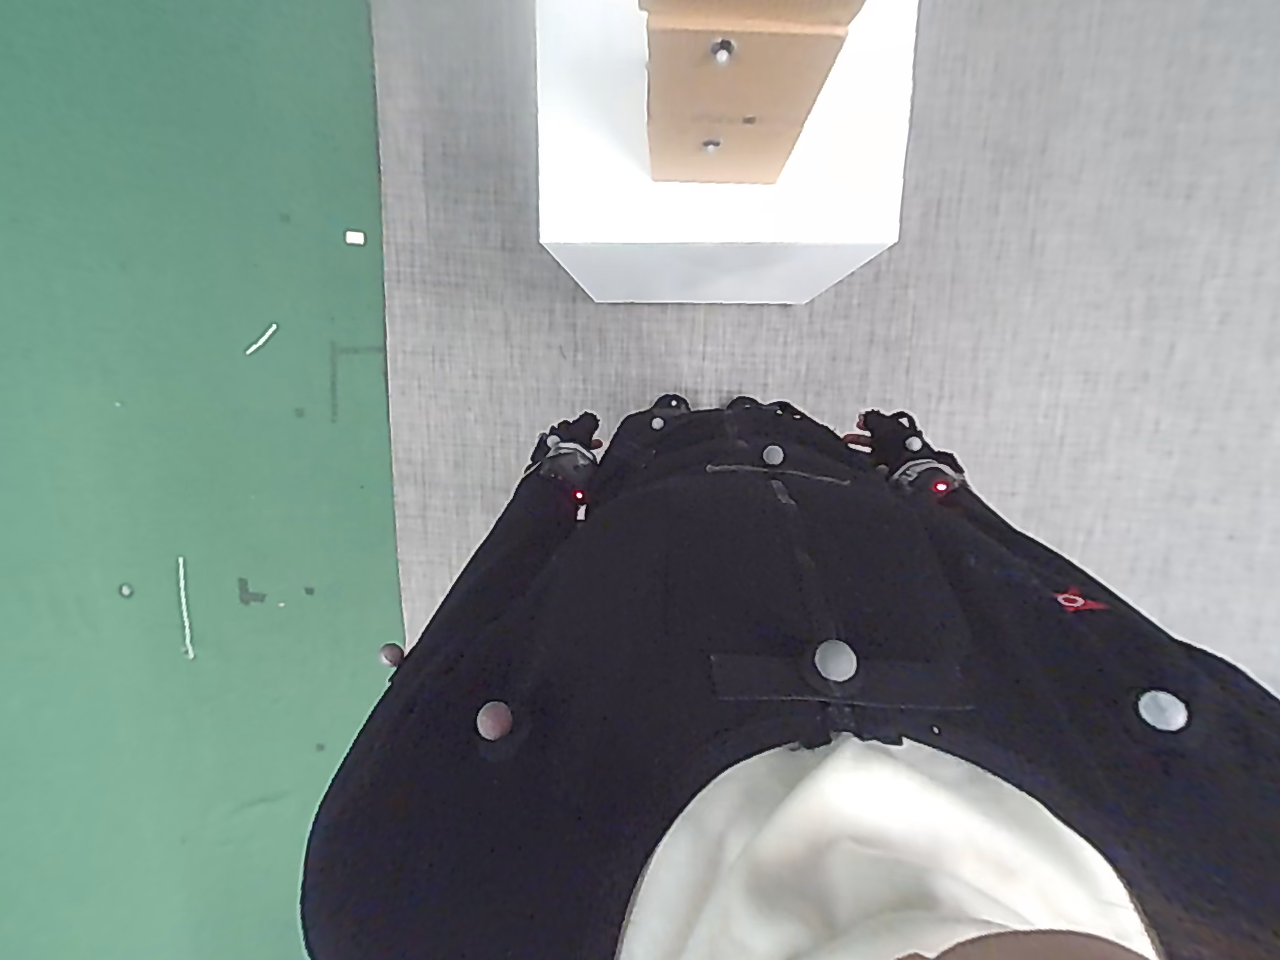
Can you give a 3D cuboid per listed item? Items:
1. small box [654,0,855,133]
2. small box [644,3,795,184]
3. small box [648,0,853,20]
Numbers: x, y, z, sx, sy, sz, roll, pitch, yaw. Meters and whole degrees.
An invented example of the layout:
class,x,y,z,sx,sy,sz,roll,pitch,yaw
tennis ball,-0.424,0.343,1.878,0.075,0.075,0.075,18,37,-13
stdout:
class,x,y,z,sx,sy,sz,roll,pitch,yaw
small box,0.098,-0.464,0.510,0.168,0.176,0.179,2,100,2
small box,0.101,-0.486,0.670,0.179,0.176,0.168,4,99,3
small box,0.086,-0.442,0.347,0.179,0.176,0.168,5,102,2
